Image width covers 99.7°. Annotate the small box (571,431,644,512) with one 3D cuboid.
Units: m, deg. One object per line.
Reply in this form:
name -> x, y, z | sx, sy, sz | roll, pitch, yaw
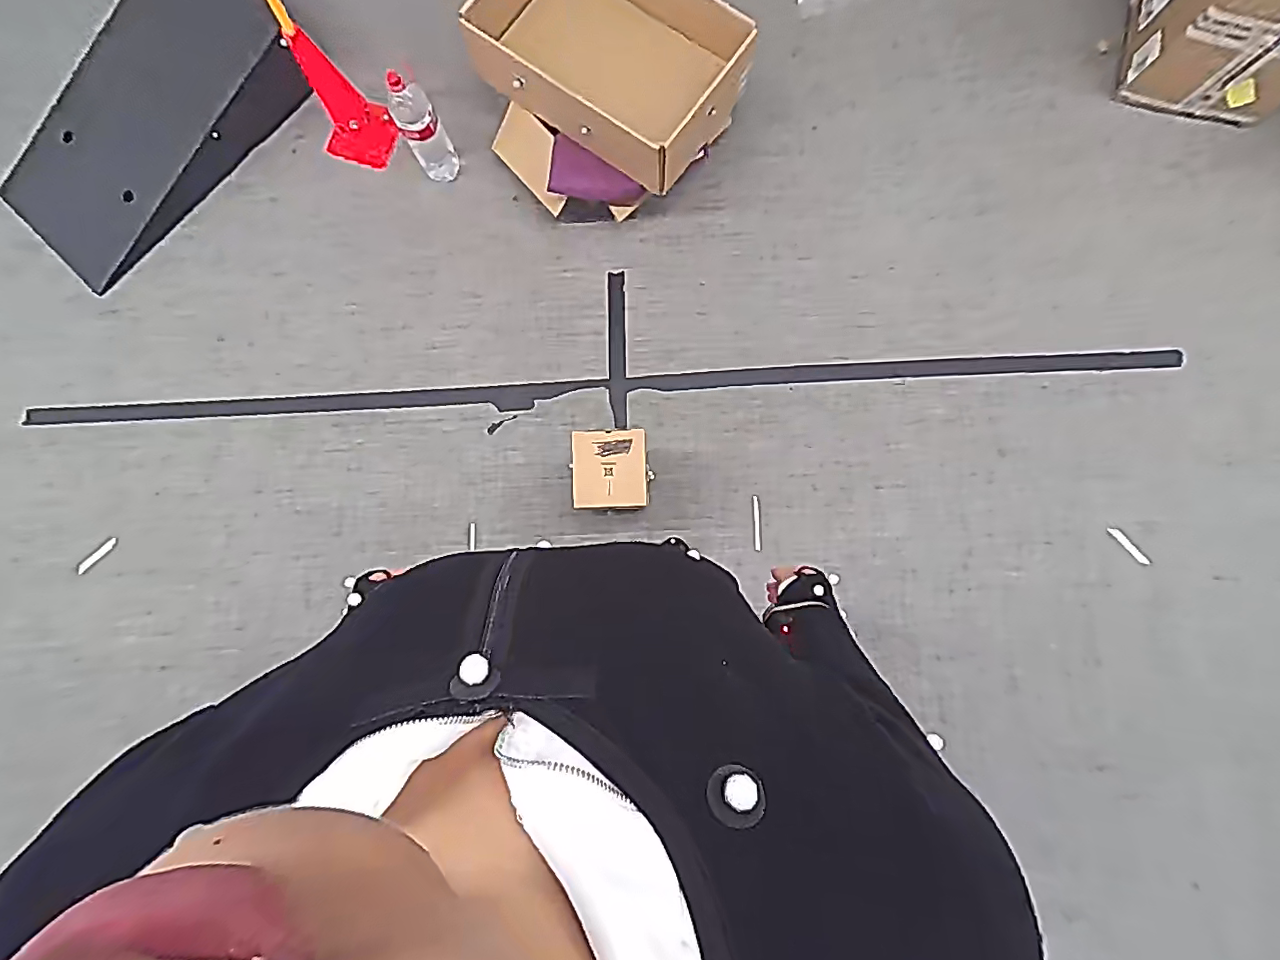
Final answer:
small box -> -0.074, -0.015, 1.285 | 0.168, 0.176, 0.179 | -2, 85, 1
